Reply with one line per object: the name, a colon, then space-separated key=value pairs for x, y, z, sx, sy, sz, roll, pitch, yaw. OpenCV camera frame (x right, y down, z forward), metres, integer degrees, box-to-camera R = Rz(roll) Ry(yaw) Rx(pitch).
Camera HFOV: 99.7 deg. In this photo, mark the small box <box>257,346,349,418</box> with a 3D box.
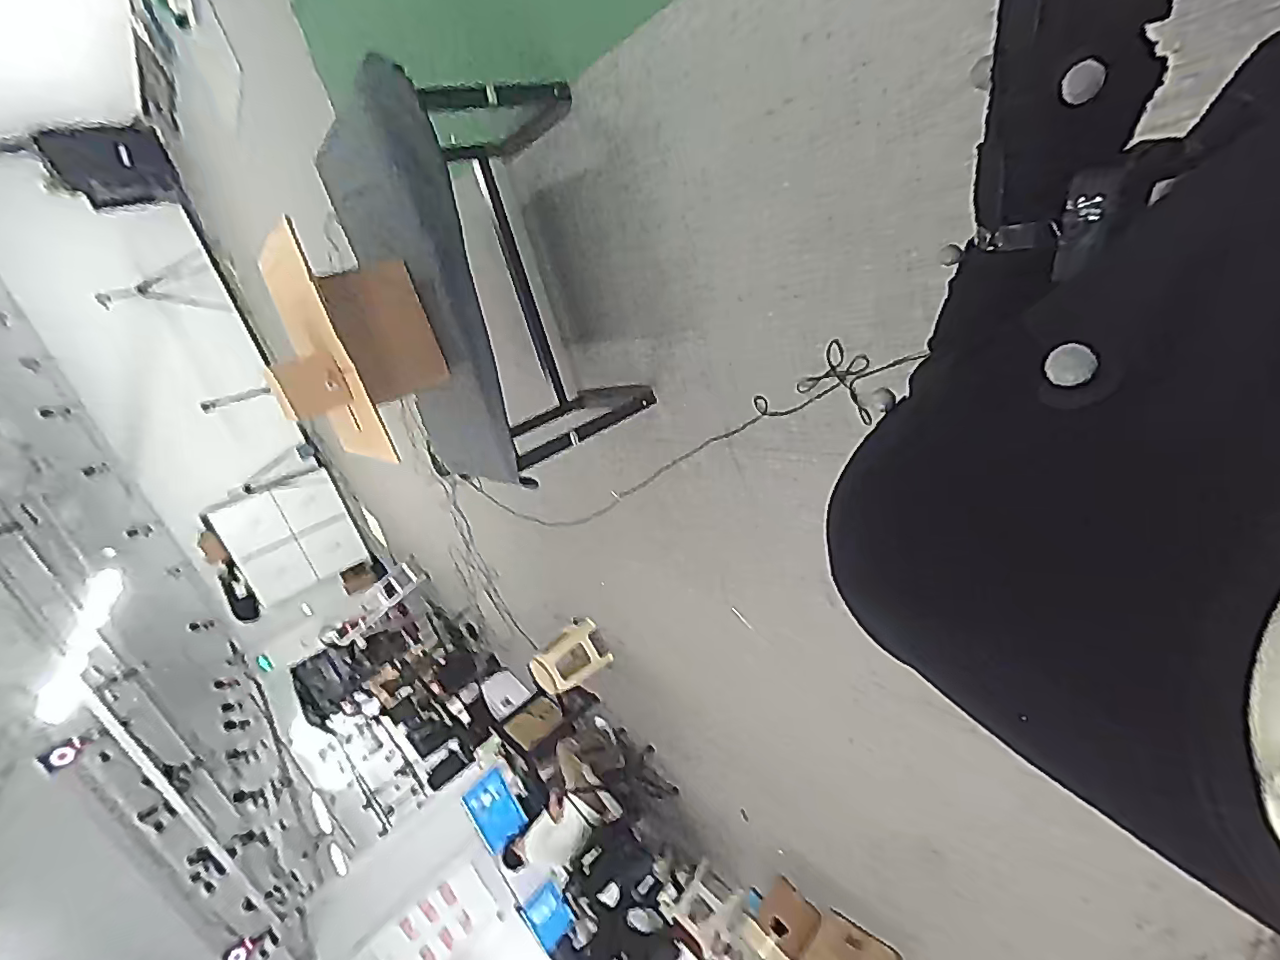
small box: x=-1.007 y=-0.294 z=1.623 sx=0.179 sy=0.176 sz=0.168 roll=7 pitch=122 yaw=47
